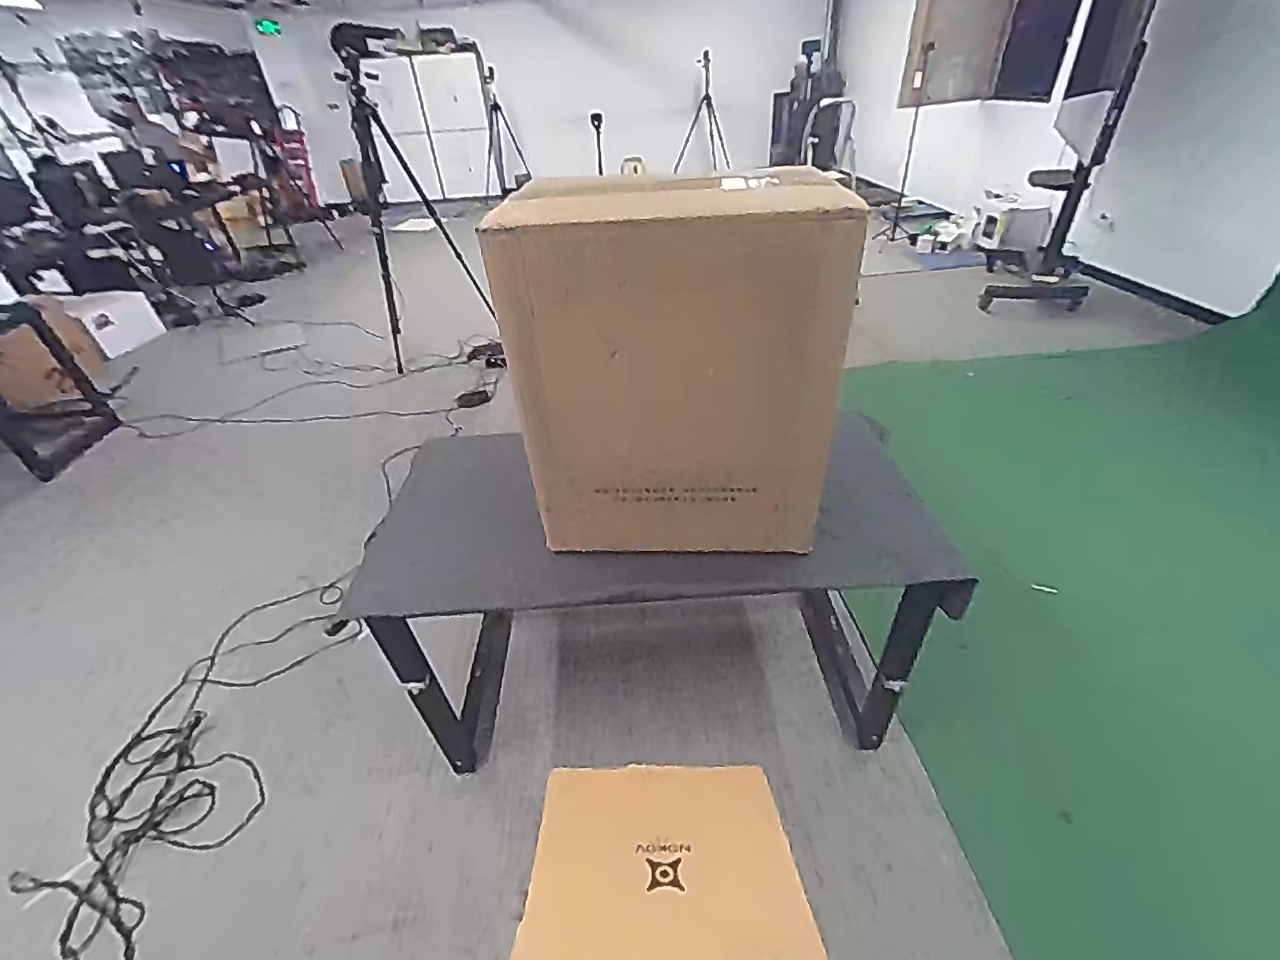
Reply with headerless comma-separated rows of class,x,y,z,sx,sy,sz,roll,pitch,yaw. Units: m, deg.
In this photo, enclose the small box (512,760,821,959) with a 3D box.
small box,0.014,0.319,0.356,0.168,0.176,0.179,0,11,-1
